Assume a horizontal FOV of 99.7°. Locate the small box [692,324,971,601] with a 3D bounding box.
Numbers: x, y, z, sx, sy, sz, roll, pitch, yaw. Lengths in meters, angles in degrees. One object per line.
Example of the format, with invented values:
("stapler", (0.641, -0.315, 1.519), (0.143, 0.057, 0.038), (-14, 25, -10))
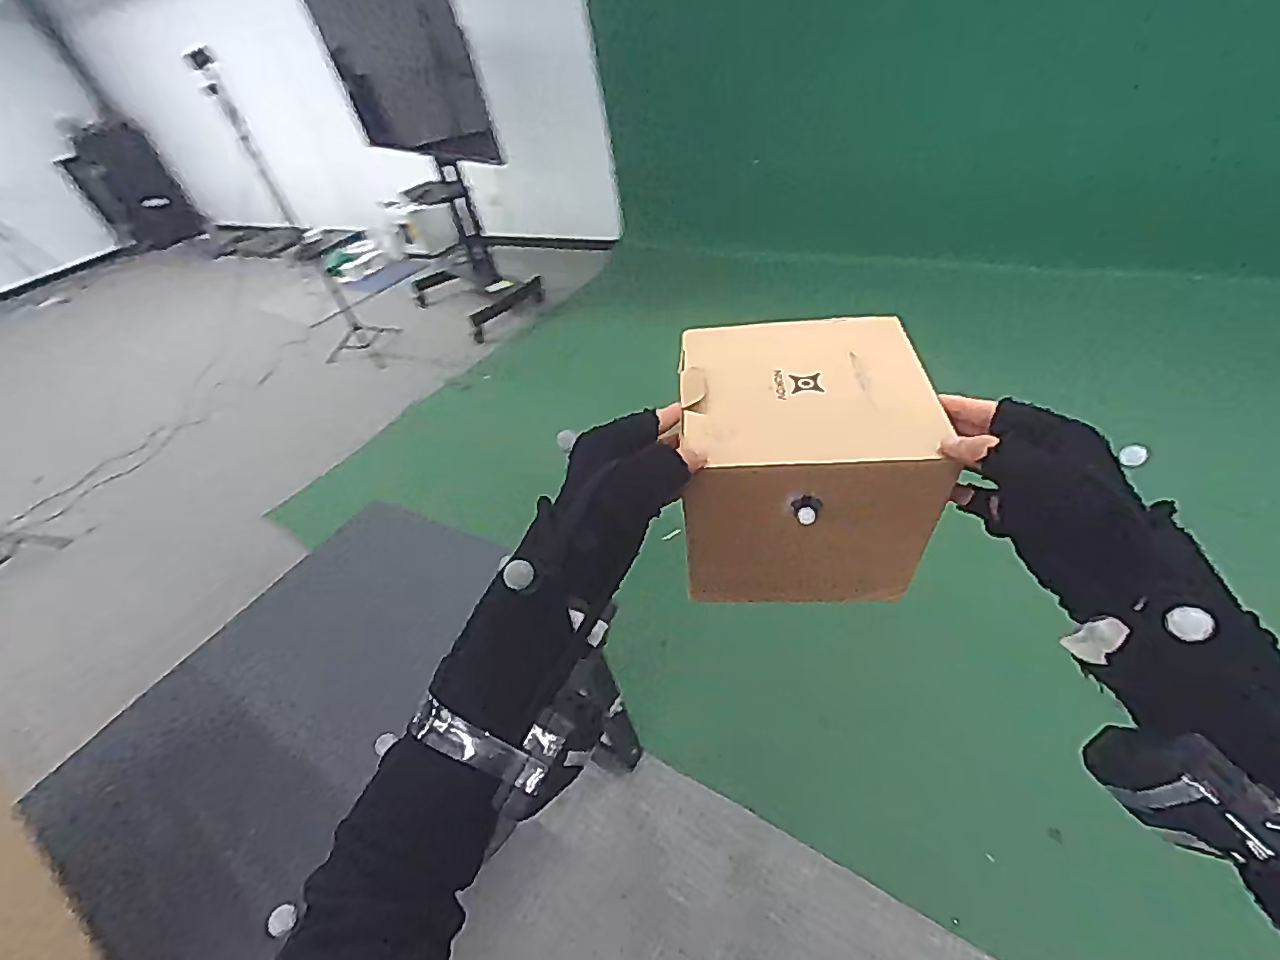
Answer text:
("small box", (0.135, -0.011, 0.455), (0.179, 0.176, 0.168), (0, 47, 7))
